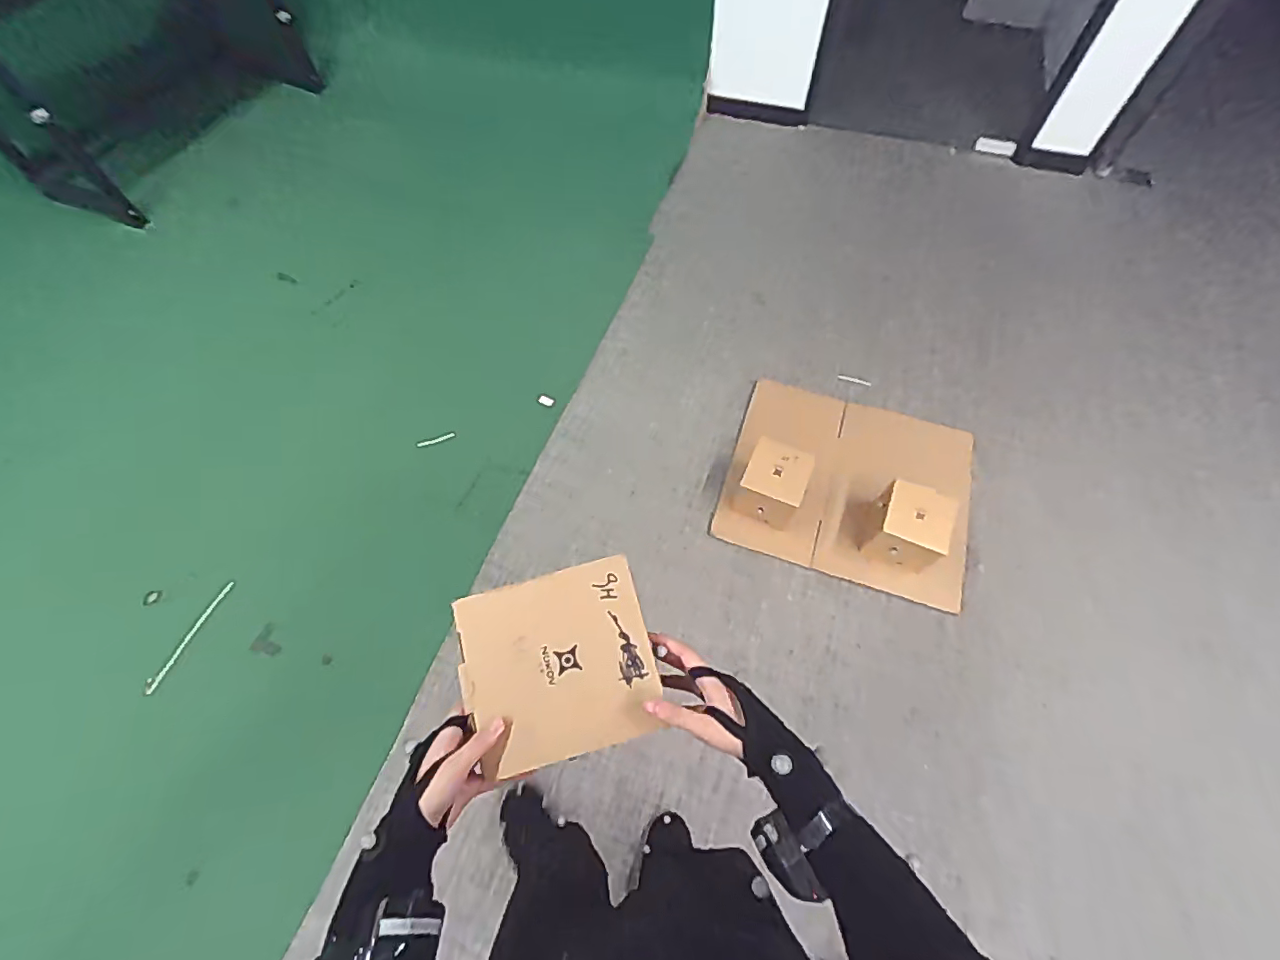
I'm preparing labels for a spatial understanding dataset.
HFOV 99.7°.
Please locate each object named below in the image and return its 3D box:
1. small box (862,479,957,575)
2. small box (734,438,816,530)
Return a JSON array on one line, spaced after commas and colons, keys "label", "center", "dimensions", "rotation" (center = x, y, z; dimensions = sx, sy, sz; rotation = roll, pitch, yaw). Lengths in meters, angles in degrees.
[{"label": "small box", "center": [0.721, 0.132, 1.461], "dimensions": [0.168, 0.176, 0.179], "rotation": [21, 63, 11]}, {"label": "small box", "center": [0.375, 0.018, 1.527], "dimensions": [0.168, 0.176, 0.179], "rotation": [23, 64, 11]}]
